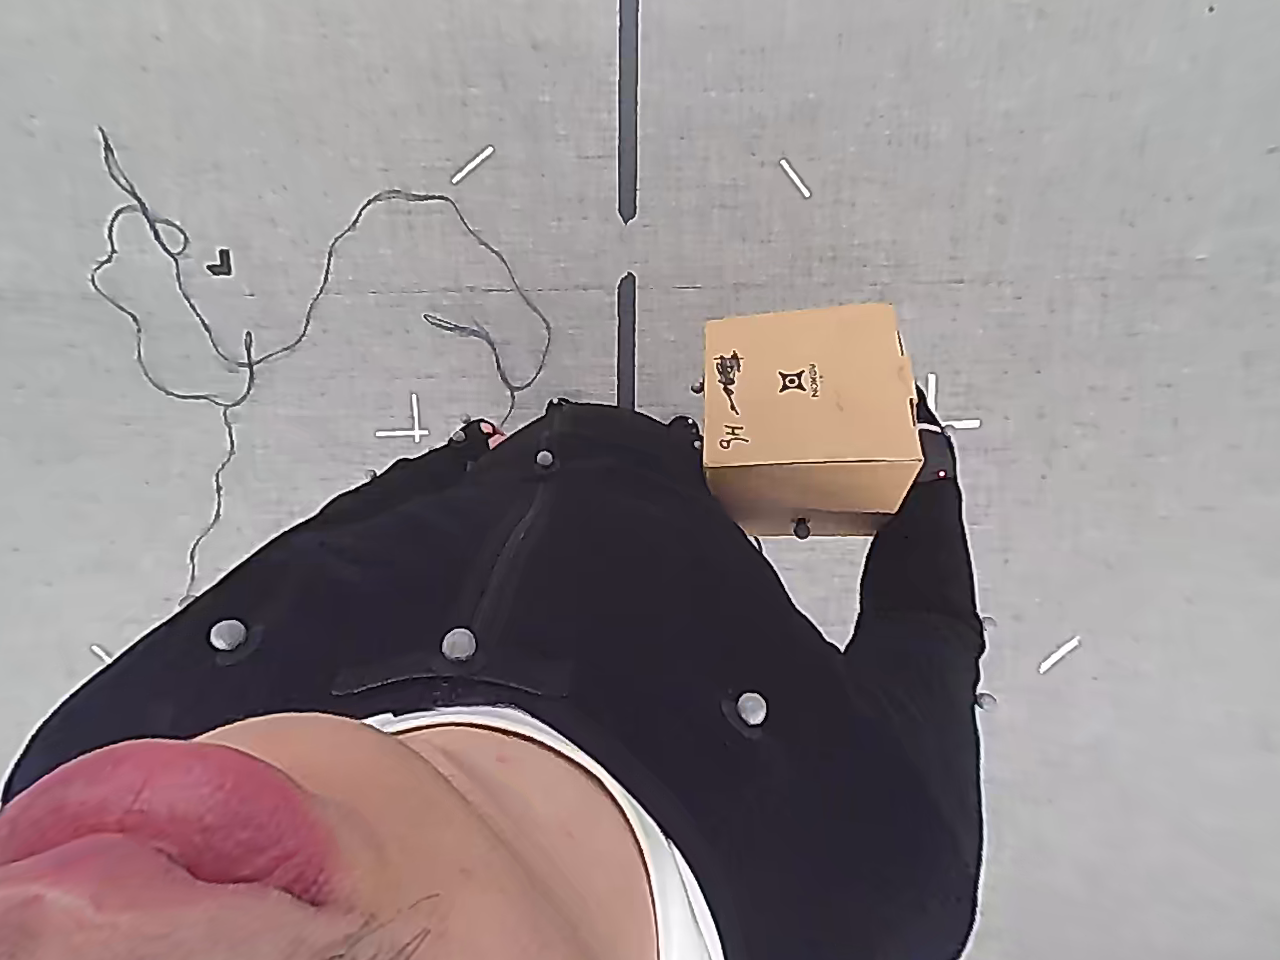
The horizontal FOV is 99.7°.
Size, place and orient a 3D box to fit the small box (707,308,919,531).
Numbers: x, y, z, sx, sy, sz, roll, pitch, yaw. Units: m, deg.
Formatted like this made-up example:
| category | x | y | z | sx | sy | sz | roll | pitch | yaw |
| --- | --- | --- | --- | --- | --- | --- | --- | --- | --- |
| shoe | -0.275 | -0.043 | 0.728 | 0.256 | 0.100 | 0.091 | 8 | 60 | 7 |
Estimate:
| category | x | y | z | sx | sy | sz | roll | pitch | yaw |
| --- | --- | --- | --- | --- | --- | --- | --- | --- | --- |
| small box | 0.165 | -0.053 | 0.563 | 0.179 | 0.176 | 0.168 | -1 | 62 | 12 |
